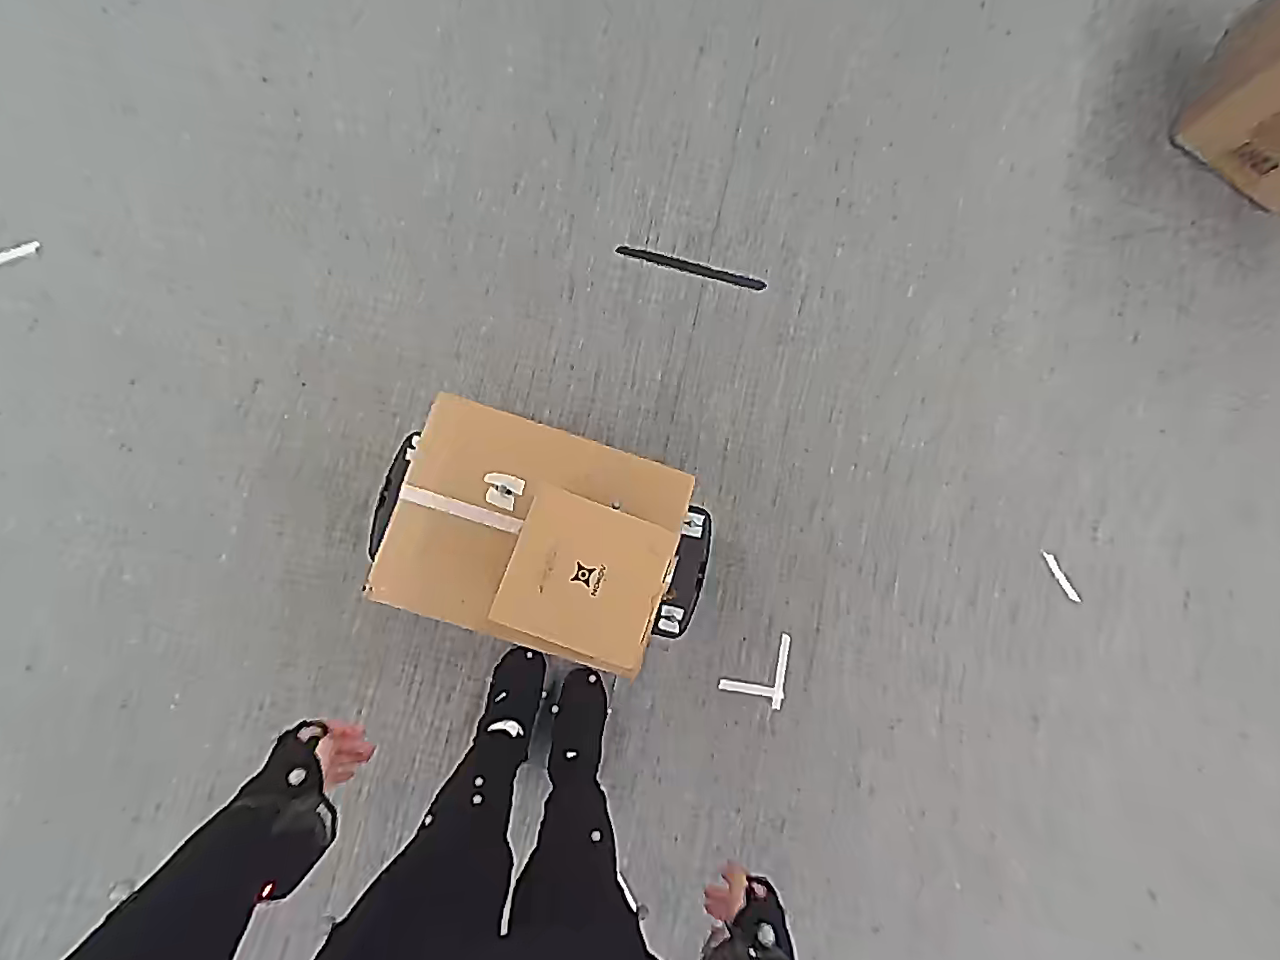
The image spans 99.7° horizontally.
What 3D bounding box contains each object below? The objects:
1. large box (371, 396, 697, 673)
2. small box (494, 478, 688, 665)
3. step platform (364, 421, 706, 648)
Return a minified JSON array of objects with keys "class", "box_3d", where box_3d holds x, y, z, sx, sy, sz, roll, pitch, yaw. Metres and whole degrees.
[{"class":"large box","box_3d":[-0.155,0.094,0.927,0.408,0.320,0.320,18,81,-3]},{"class":"small box","box_3d":[-0.060,0.110,0.687,0.179,0.176,0.168,21,82,-3]},{"class":"step platform","box_3d":[-0.207,0.119,1.160,0.684,0.204,0.286,20,81,-3]}]
